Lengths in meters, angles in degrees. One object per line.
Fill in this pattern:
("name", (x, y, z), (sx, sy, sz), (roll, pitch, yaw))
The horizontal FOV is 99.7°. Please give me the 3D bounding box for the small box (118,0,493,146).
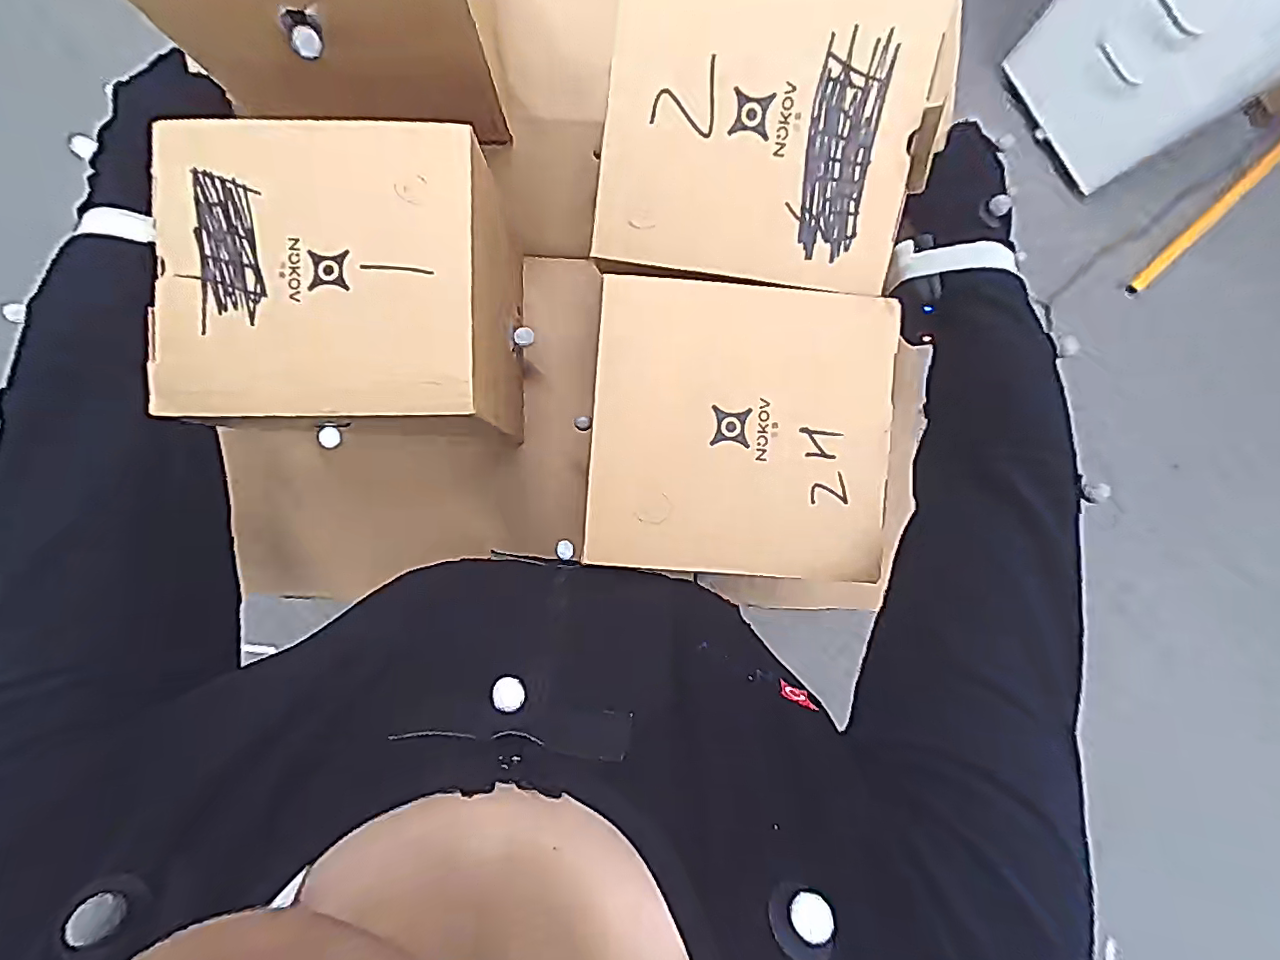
("small box", (-0.200, -0.344, 0.343), (0.179, 0.176, 0.168), (-6, 94, -1))
